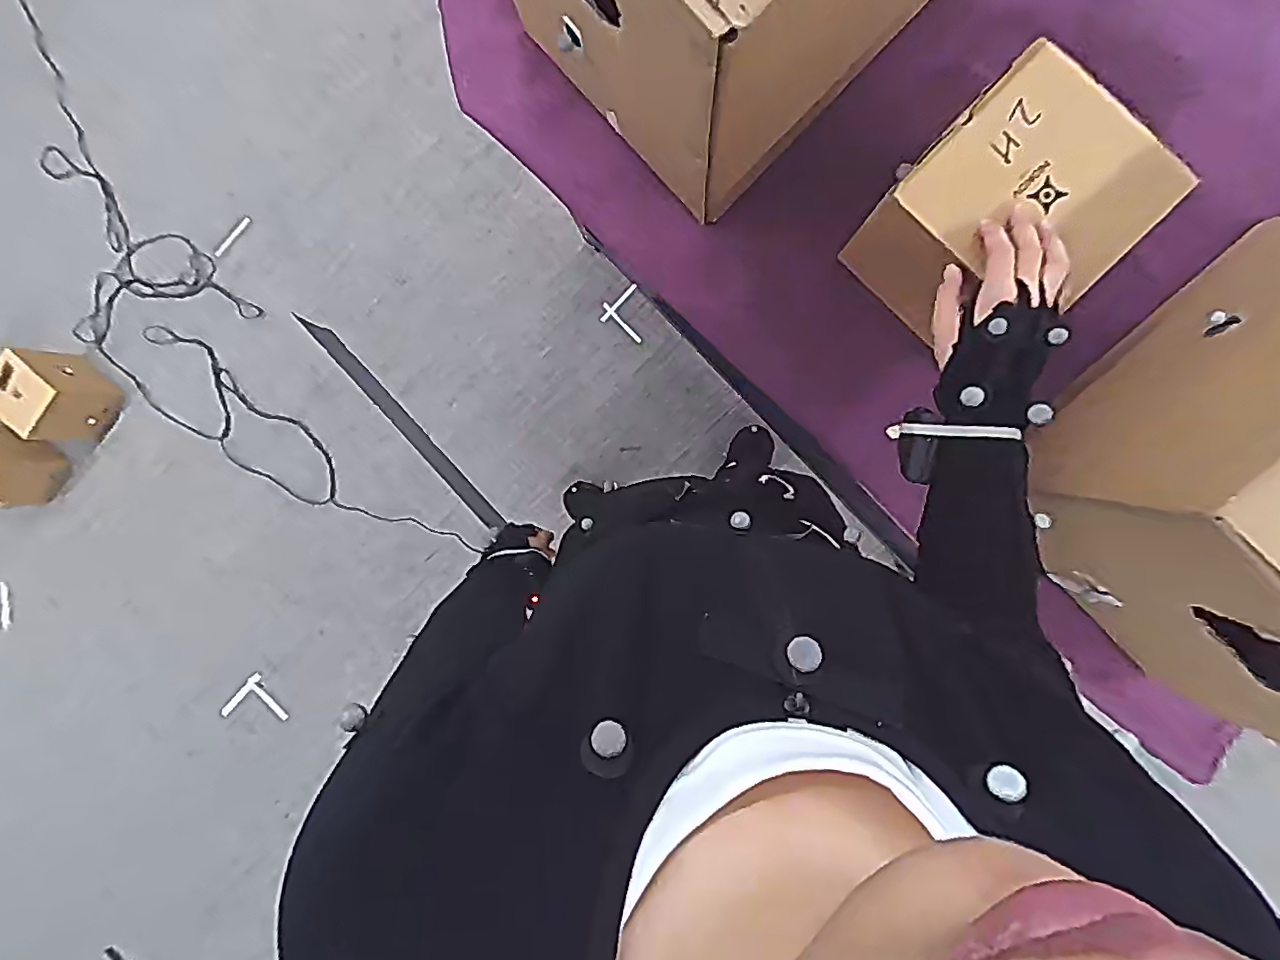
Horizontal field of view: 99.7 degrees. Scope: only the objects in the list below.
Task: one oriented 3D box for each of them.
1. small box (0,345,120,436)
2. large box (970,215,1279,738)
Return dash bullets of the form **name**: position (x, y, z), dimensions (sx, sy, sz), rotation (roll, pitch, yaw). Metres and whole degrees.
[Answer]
- **small box**: position (-1.574, -0.230, 1.445), dimensions (0.179, 0.176, 0.168), rotation (42, 98, 1)
- **large box**: position (0.590, -0.015, 0.434), dimensions (0.408, 0.320, 0.320), rotation (-44, 89, 6)
